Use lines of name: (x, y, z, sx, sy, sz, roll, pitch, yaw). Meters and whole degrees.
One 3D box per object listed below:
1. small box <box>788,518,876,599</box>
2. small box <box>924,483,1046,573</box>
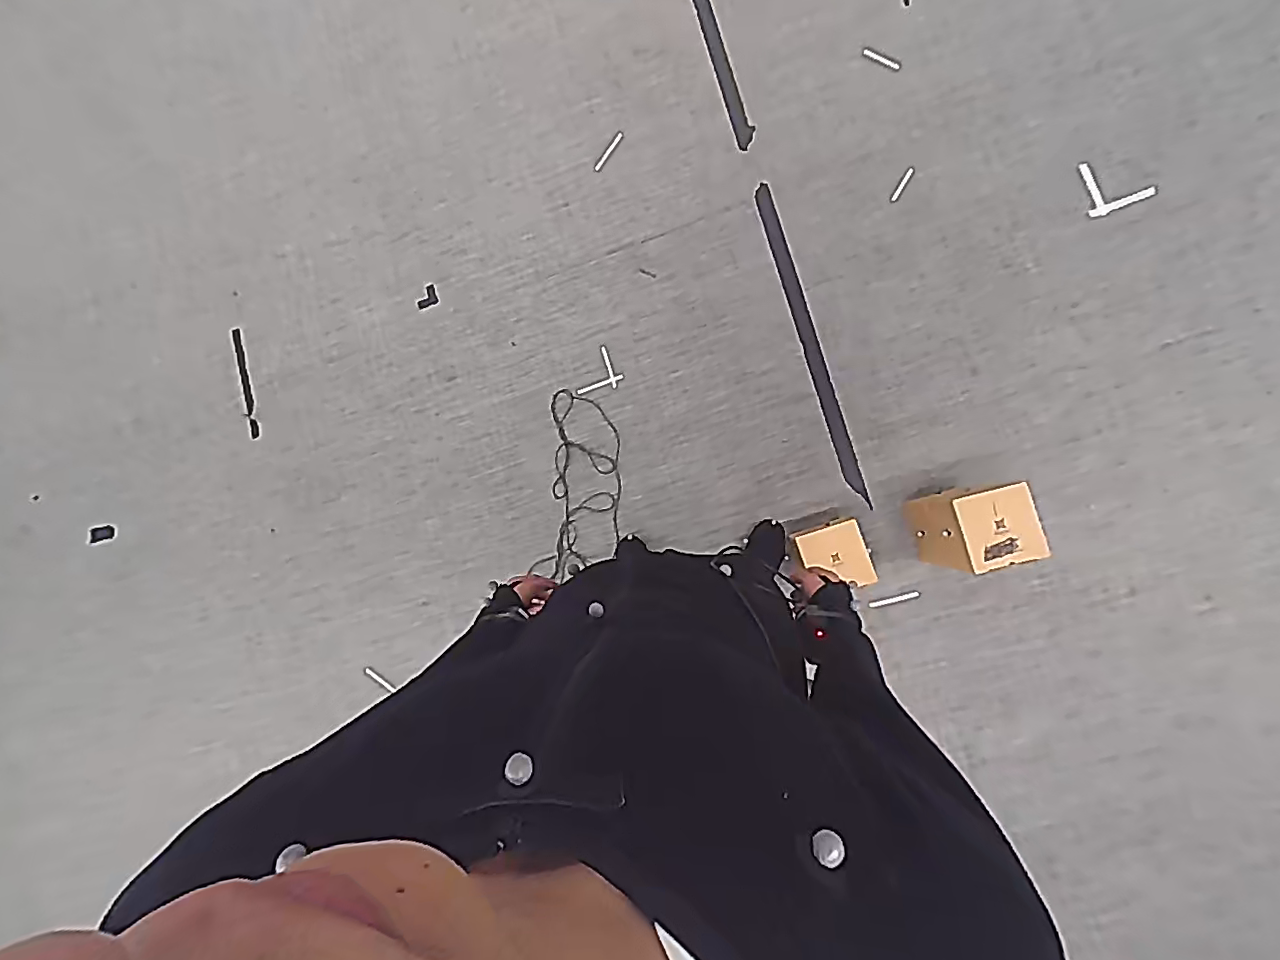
small box: (0.521, 0.212, 1.496, 0.168, 0.176, 0.179, -19, 85, 7)
small box: (0.812, 0.111, 1.290, 0.168, 0.176, 0.179, -15, 84, 7)
